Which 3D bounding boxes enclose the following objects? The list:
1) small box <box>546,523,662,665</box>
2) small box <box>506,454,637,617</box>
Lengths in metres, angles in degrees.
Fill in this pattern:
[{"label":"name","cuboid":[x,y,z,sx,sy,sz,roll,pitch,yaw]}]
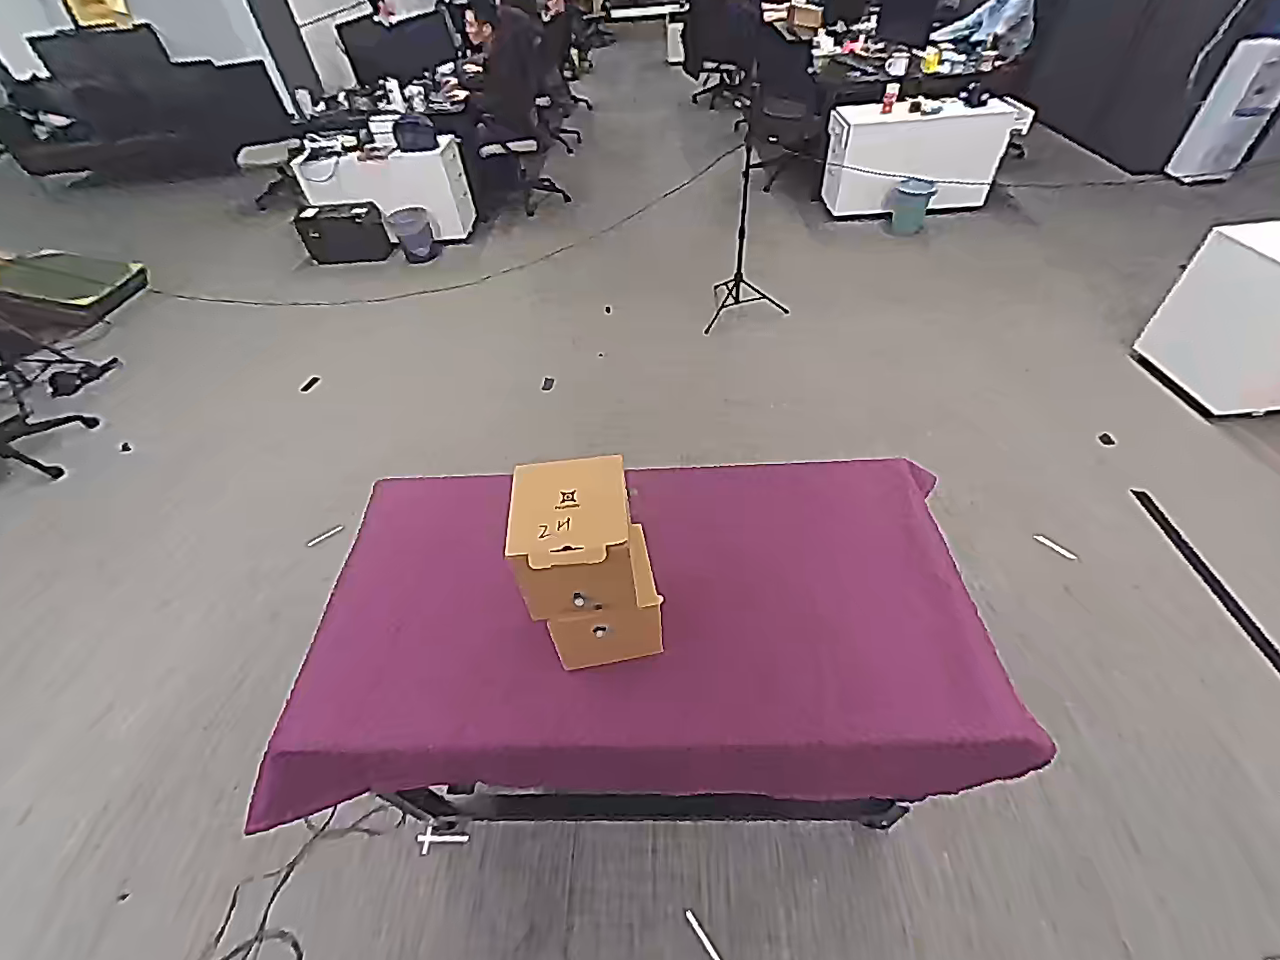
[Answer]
[{"label":"small box","cuboid":[-0.063,0.201,0.935,0.179,0.176,0.168,-9,47,-4]},{"label":"small box","cuboid":[-0.096,0.085,0.821,0.168,0.176,0.179,-6,47,0]}]
